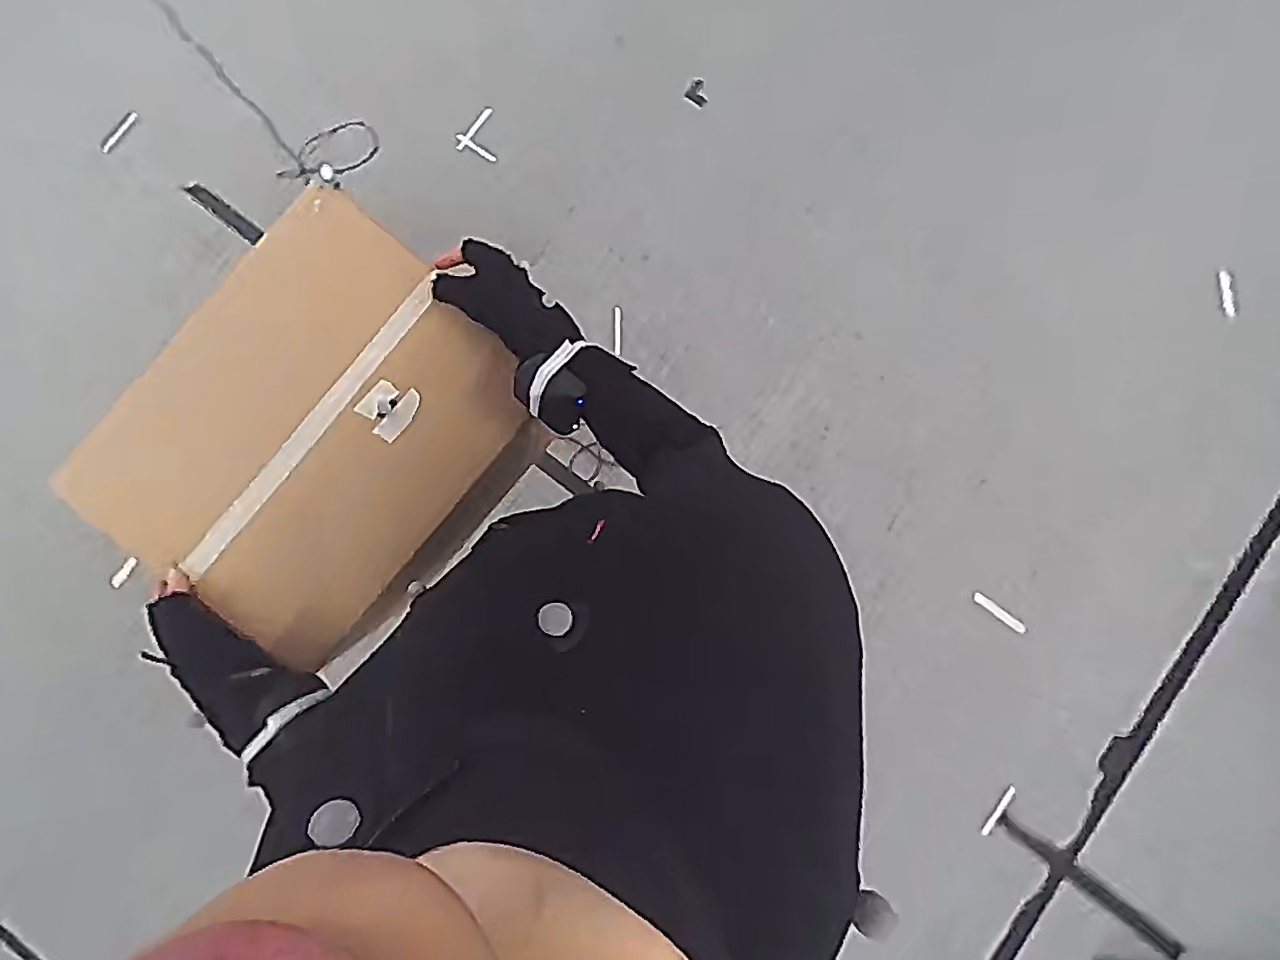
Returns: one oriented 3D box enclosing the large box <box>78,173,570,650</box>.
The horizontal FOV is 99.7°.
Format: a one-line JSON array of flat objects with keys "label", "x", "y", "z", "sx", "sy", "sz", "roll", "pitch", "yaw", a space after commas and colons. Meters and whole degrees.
[{"label": "large box", "x": -0.339, "y": -0.070, "z": 0.706, "sx": 0.320, "sy": 0.320, "sz": 0.408, "roll": 40, "pitch": 88, "yaw": -5}]
